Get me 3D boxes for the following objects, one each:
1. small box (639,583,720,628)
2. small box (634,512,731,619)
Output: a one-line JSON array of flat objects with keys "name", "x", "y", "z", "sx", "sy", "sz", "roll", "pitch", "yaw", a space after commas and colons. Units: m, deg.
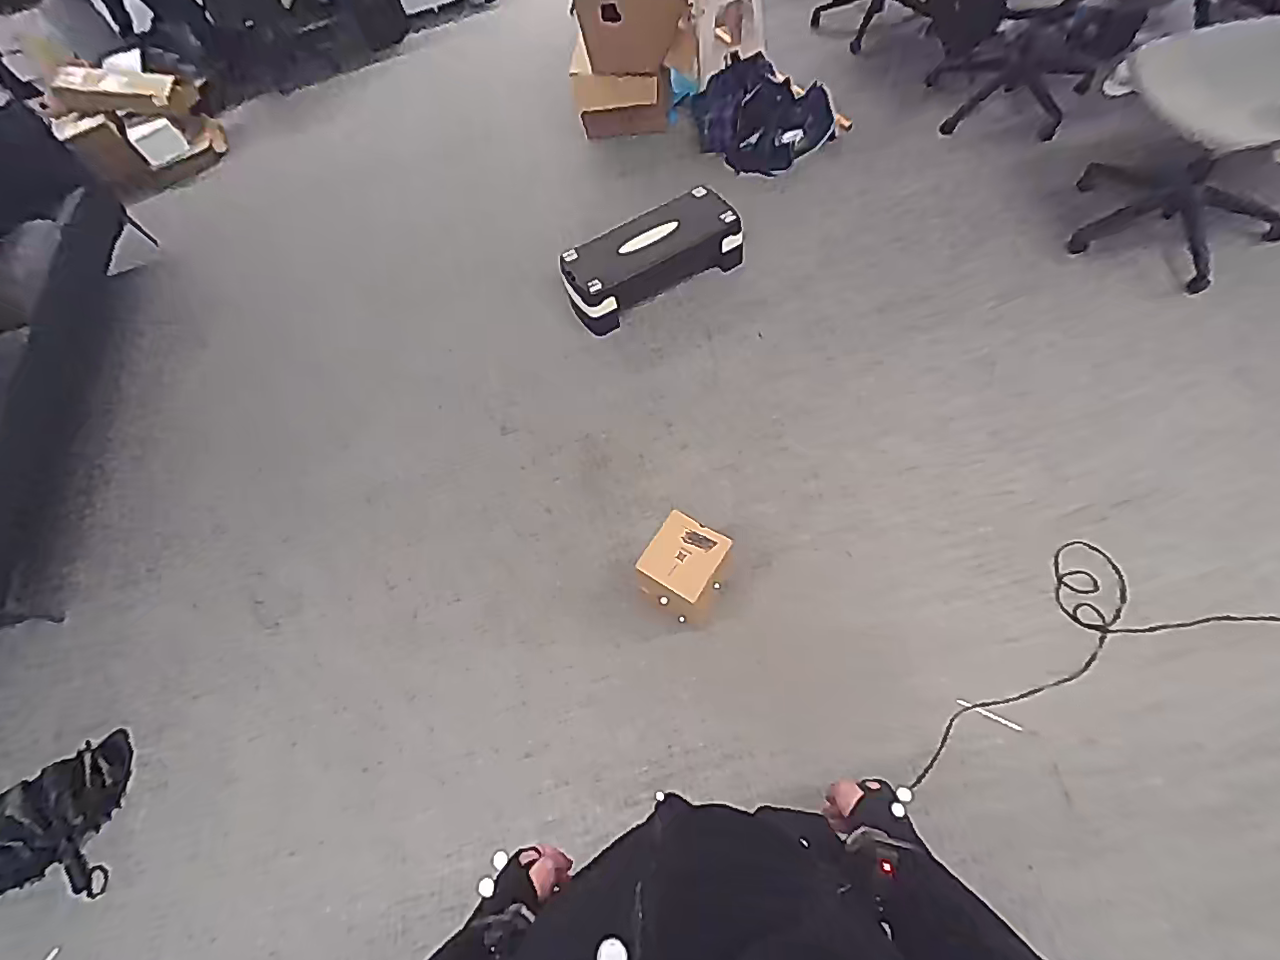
[{"name": "small box", "x": 0.117, "y": 0.283, "z": 1.477, "sx": 0.168, "sy": 0.176, "sz": 0.179, "roll": 21, "pitch": 66, "yaw": 19}, {"name": "small box", "x": 0.108, "y": 0.213, "z": 1.327, "sx": 0.168, "sy": 0.176, "sz": 0.179, "roll": 29, "pitch": 71, "yaw": 22}]
